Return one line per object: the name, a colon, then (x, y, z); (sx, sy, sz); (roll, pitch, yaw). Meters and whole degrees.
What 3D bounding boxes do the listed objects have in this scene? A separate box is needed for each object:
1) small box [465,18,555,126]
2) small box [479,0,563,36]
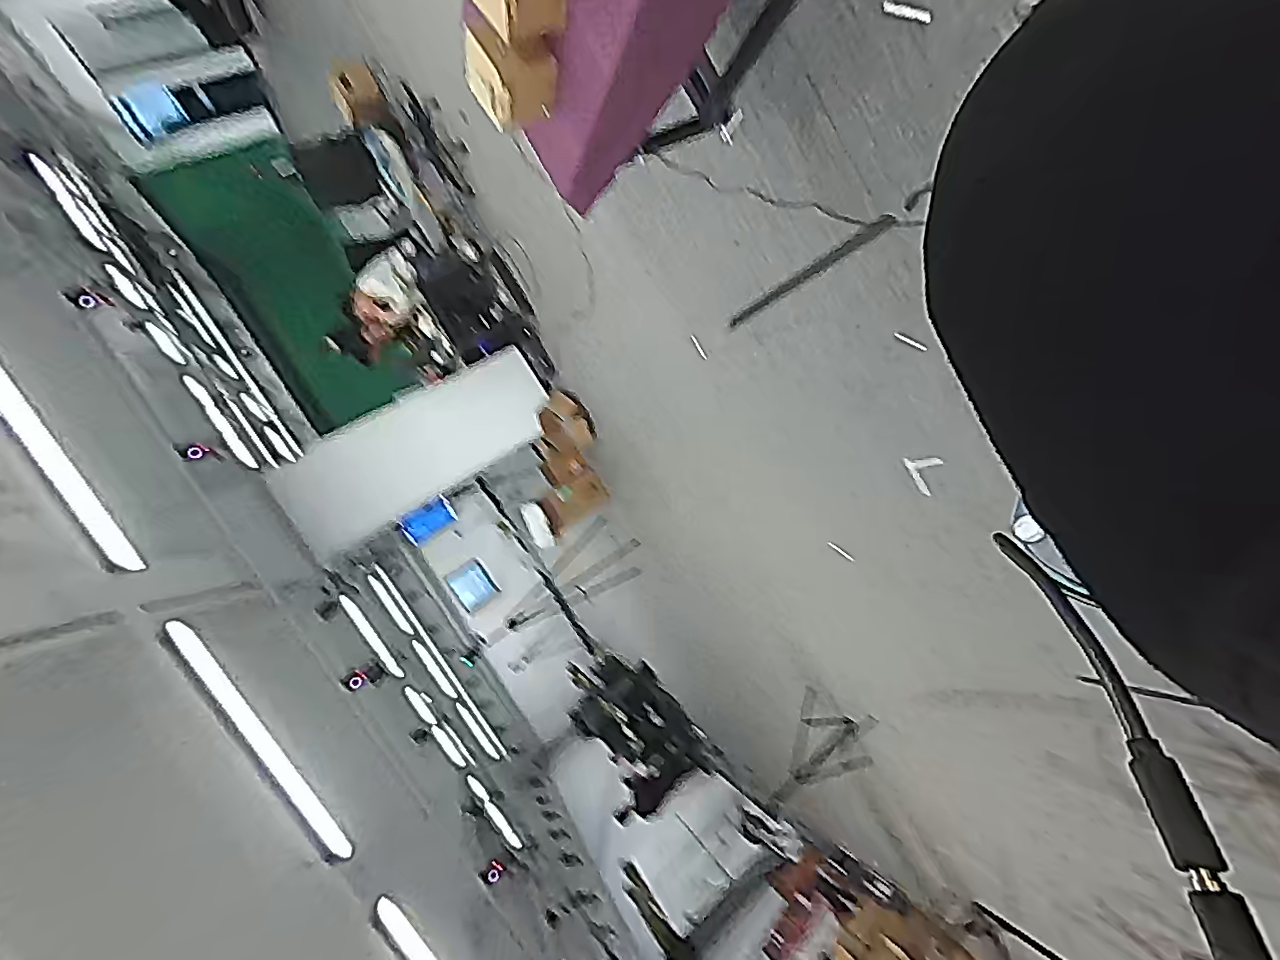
small box: (-0.347, -1.112, 1.458); (0.179, 0.176, 0.168); (55, 159, 5)
small box: (-0.278, -1.170, 1.224); (0.179, 0.176, 0.168); (55, 159, 6)
